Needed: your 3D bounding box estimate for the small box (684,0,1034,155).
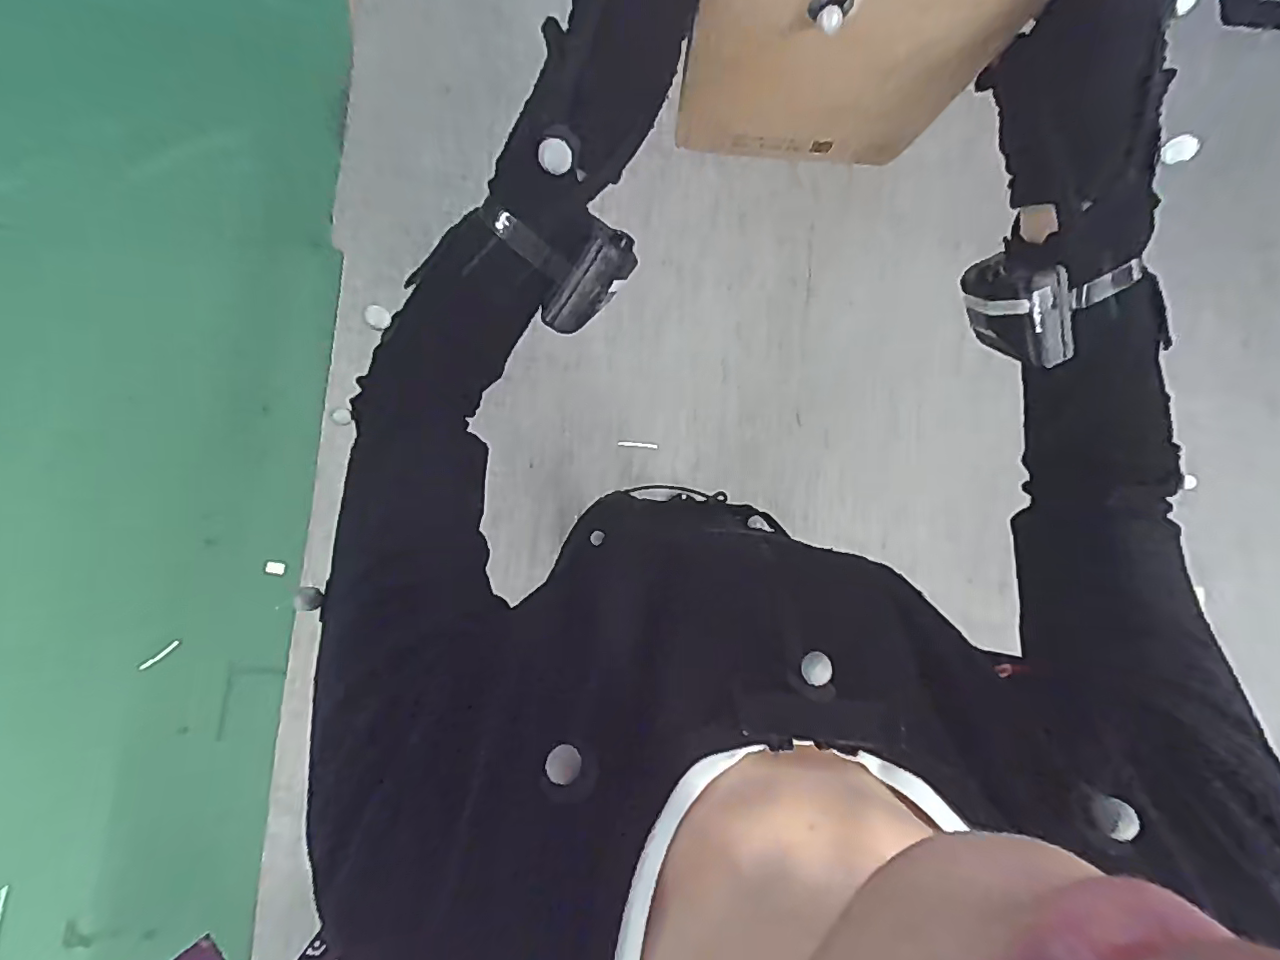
[{"bbox_3d":[0.117,-0.329,0.315,0.168,0.176,0.179,4,94,0],"label":"small box"}]
